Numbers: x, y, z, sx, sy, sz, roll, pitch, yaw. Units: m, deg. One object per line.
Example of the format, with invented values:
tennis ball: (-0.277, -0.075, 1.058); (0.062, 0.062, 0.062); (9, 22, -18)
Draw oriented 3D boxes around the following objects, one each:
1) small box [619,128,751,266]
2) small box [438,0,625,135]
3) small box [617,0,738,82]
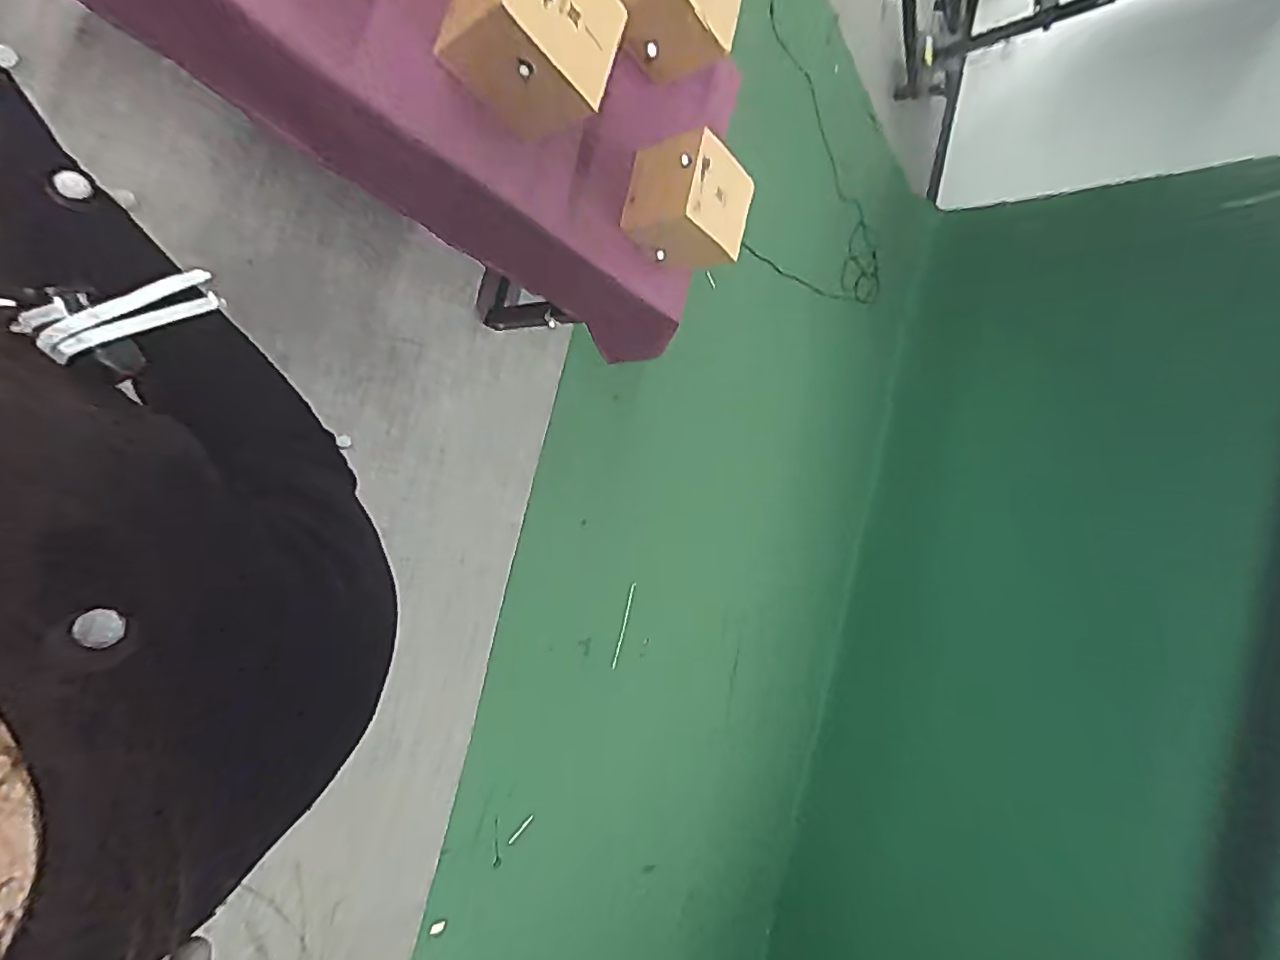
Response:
small box: (0.089, -0.538, 1.060); (0.179, 0.176, 0.168); (16, 85, -48)
small box: (-0.156, -0.638, 0.773); (0.179, 0.176, 0.168); (22, 81, -48)
small box: (0.059, -0.867, 0.959); (0.168, 0.176, 0.179); (14, 88, -47)
